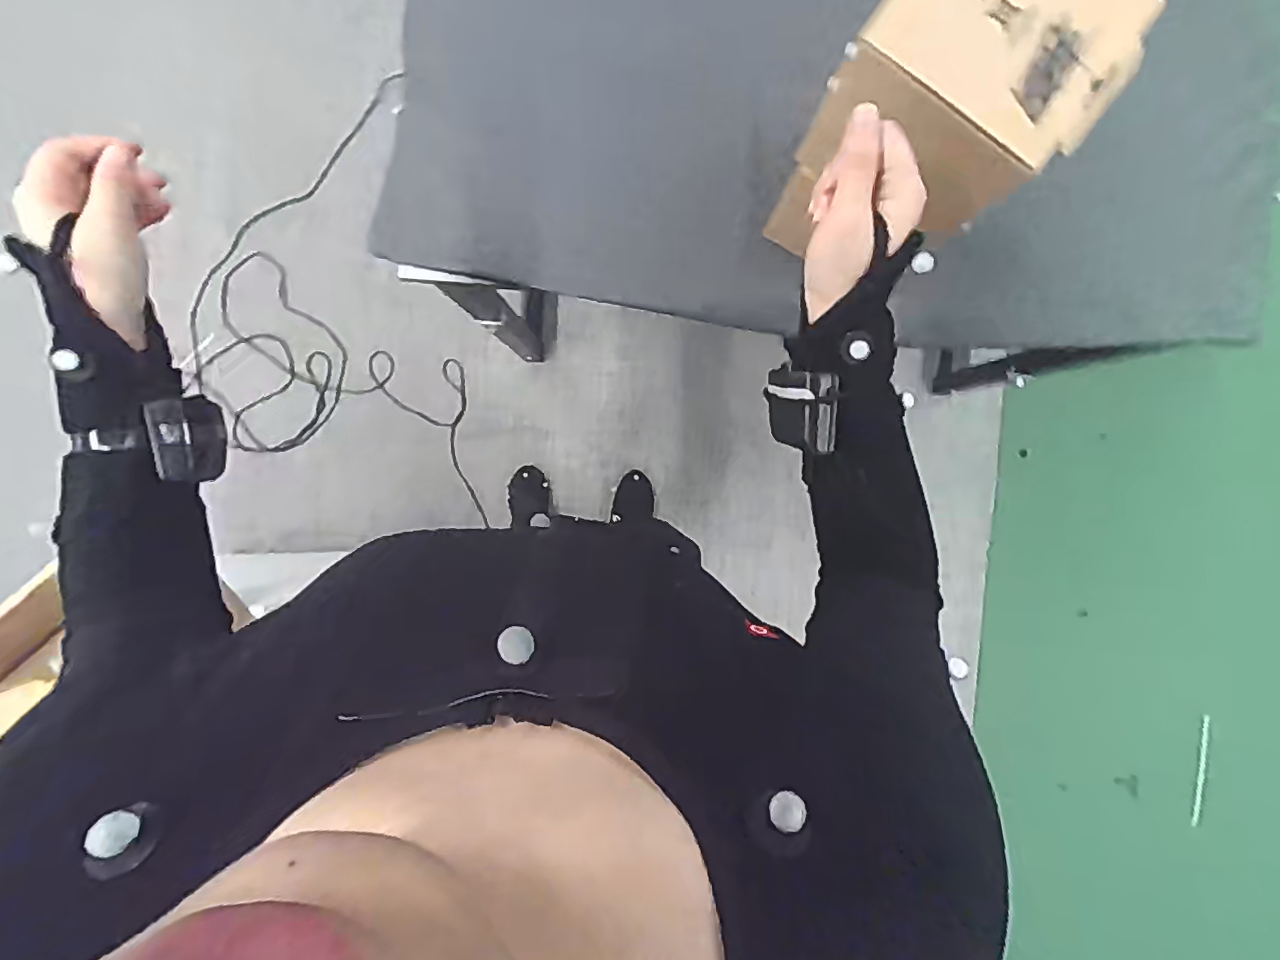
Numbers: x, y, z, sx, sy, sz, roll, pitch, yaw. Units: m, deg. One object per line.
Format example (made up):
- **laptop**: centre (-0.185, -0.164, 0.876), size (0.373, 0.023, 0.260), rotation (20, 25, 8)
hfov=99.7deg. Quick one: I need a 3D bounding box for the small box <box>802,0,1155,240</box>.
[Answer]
- **small box**: centre (0.284, -0.354, 0.499), size (0.179, 0.176, 0.168), rotation (37, 91, -1)
